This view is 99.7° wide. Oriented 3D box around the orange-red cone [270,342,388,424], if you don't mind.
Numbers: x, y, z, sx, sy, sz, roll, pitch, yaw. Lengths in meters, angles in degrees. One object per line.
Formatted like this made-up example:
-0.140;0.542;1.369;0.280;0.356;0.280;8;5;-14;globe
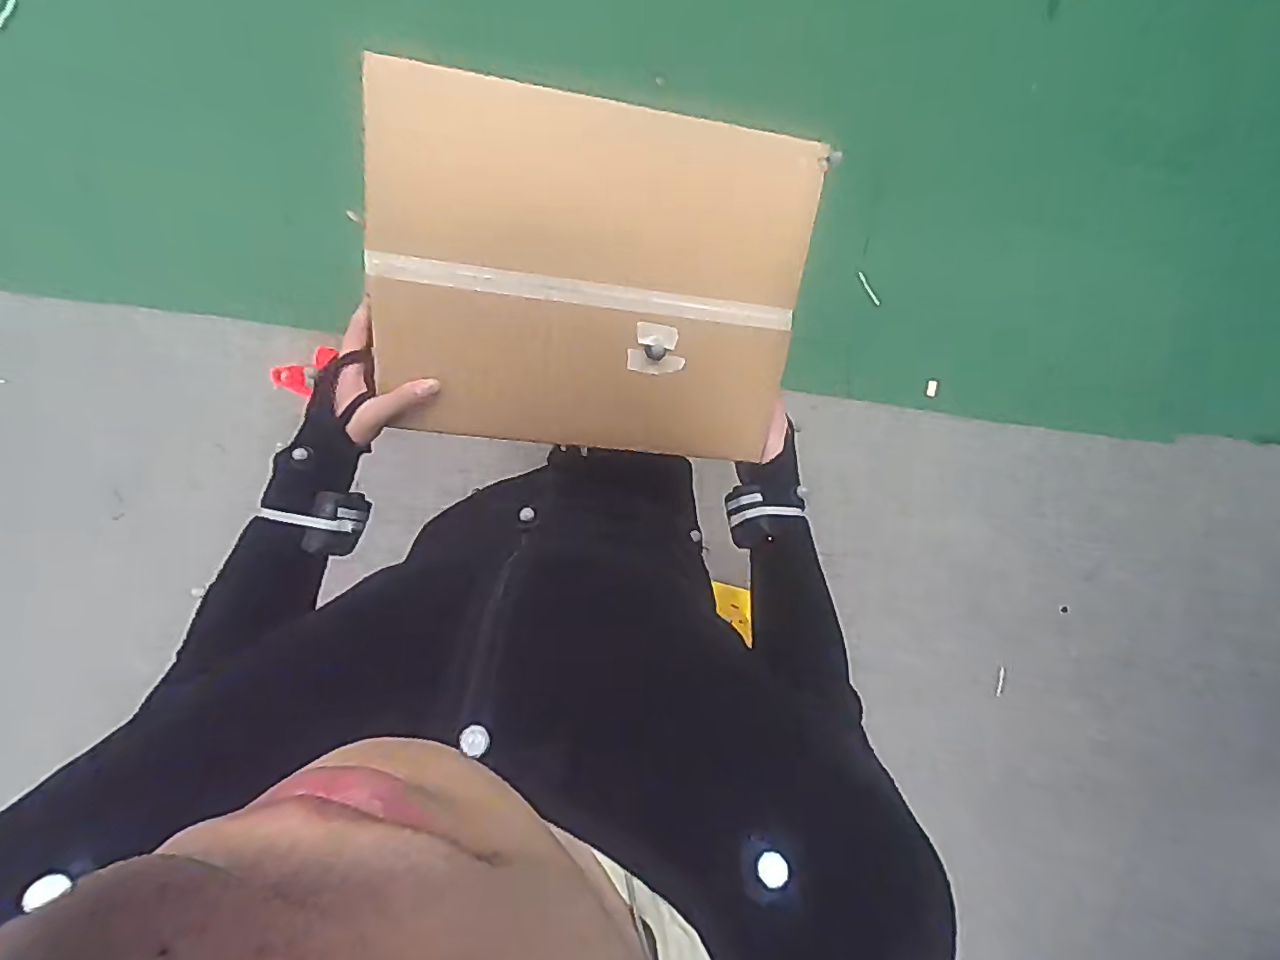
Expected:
-0.808;-0.258;1.351;0.199;0.360;0.198;14;93;-6;orange-red cone

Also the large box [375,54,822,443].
-0.062;-0.249;0.663;0.408;0.320;0.320;5;112;-10;large box
